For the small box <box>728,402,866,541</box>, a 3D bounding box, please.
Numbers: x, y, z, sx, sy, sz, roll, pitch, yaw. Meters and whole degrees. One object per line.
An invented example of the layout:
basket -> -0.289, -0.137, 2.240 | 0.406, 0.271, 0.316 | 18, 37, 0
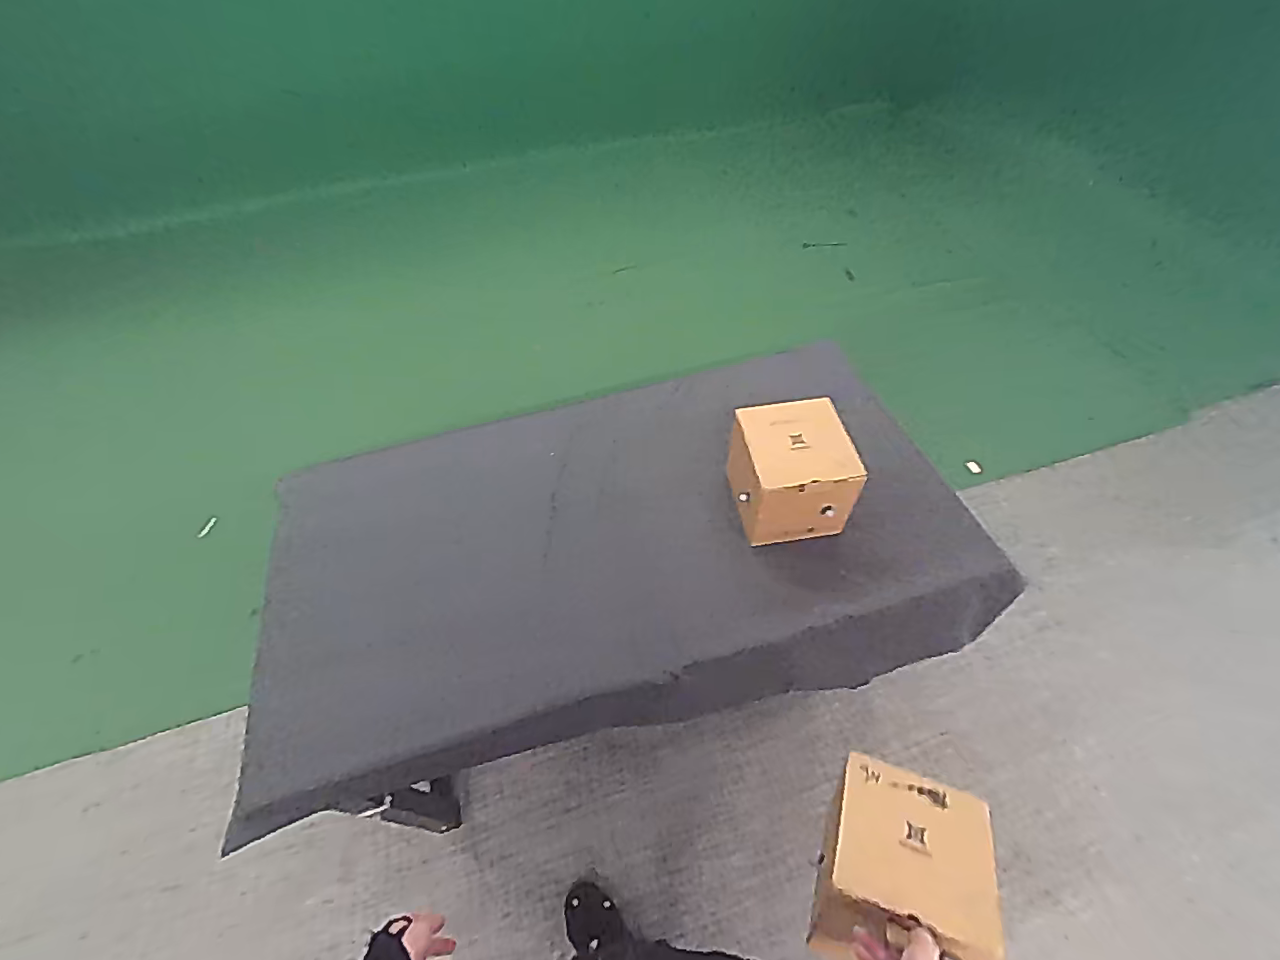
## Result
small box -> 0.256, -0.008, 0.929 | 0.168, 0.176, 0.179 | -6, 51, -5

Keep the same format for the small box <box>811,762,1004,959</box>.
small box -> 0.315, 0.496, 0.652 | 0.168, 0.176, 0.179 | 16, 32, 22
